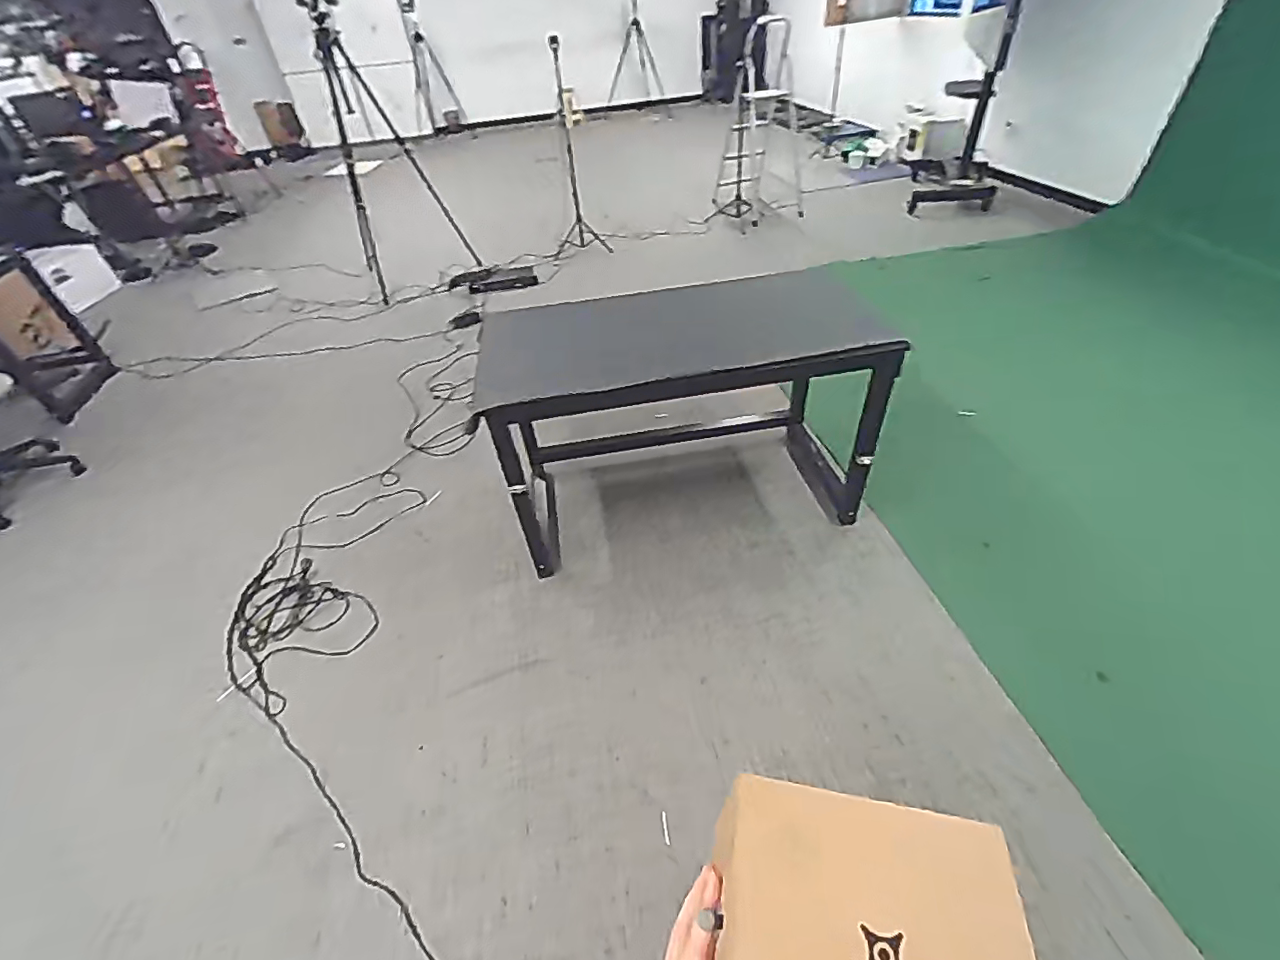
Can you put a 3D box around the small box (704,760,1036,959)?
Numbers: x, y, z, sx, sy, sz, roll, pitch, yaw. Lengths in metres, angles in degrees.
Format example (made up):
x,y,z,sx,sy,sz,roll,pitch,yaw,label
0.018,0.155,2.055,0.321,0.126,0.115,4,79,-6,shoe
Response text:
x,y,z,sx,sy,sz,roll,pitch,yaw,label
0.129,0.315,0.346,0.168,0.176,0.179,7,44,8,small box
